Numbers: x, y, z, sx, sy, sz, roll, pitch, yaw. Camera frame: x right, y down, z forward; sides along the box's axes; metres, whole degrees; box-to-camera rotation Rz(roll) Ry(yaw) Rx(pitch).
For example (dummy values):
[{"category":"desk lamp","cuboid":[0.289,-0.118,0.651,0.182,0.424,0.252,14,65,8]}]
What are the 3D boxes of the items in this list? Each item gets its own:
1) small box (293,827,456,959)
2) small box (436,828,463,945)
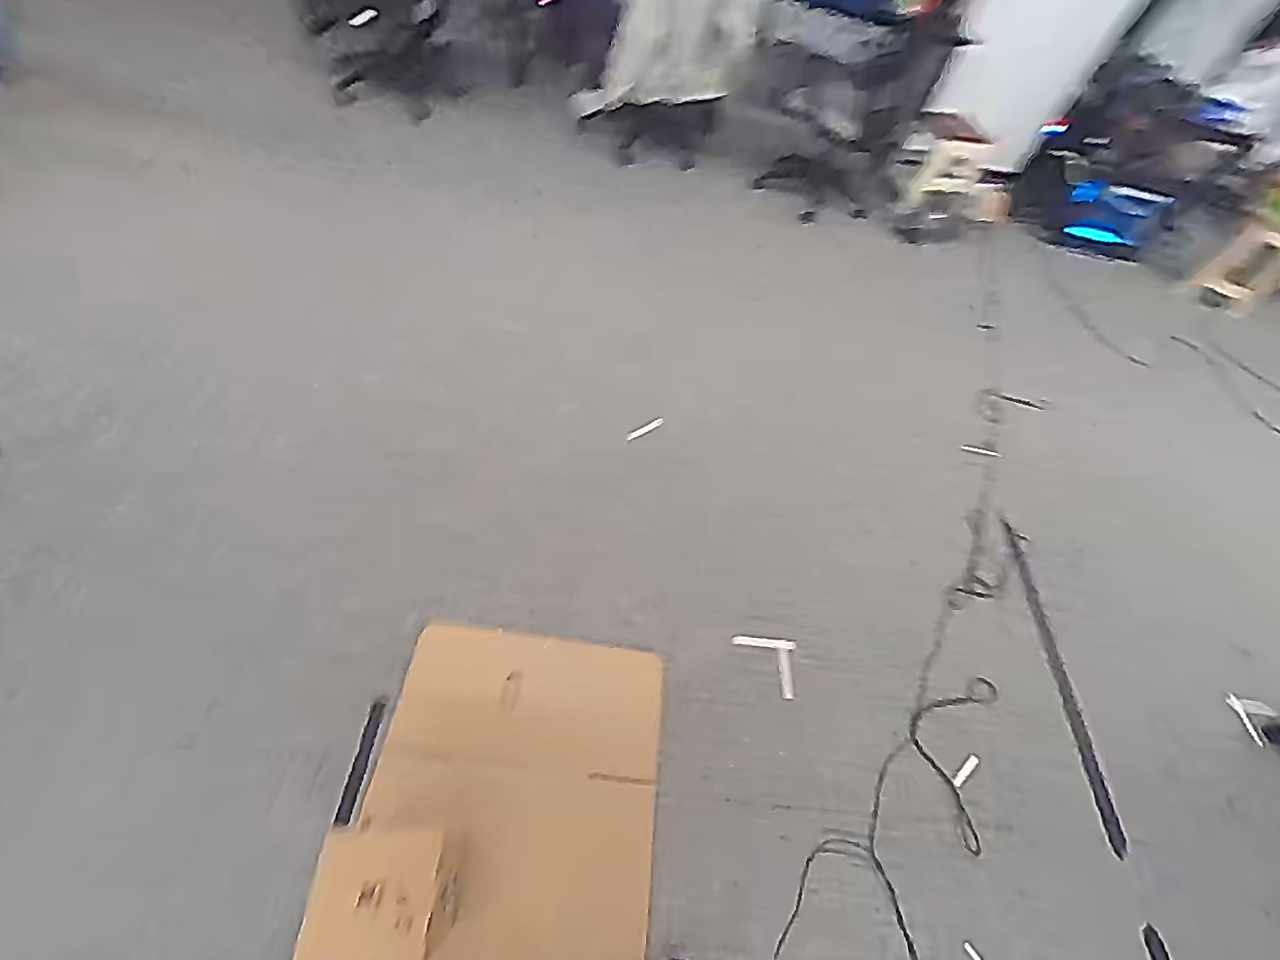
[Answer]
[{"category":"small box","cuboid":[-0.400,0.647,0.851,0.179,0.176,0.168,5,56,-9]},{"category":"small box","cuboid":[-0.427,0.736,0.987,0.179,0.176,0.168,4,55,-10]}]
